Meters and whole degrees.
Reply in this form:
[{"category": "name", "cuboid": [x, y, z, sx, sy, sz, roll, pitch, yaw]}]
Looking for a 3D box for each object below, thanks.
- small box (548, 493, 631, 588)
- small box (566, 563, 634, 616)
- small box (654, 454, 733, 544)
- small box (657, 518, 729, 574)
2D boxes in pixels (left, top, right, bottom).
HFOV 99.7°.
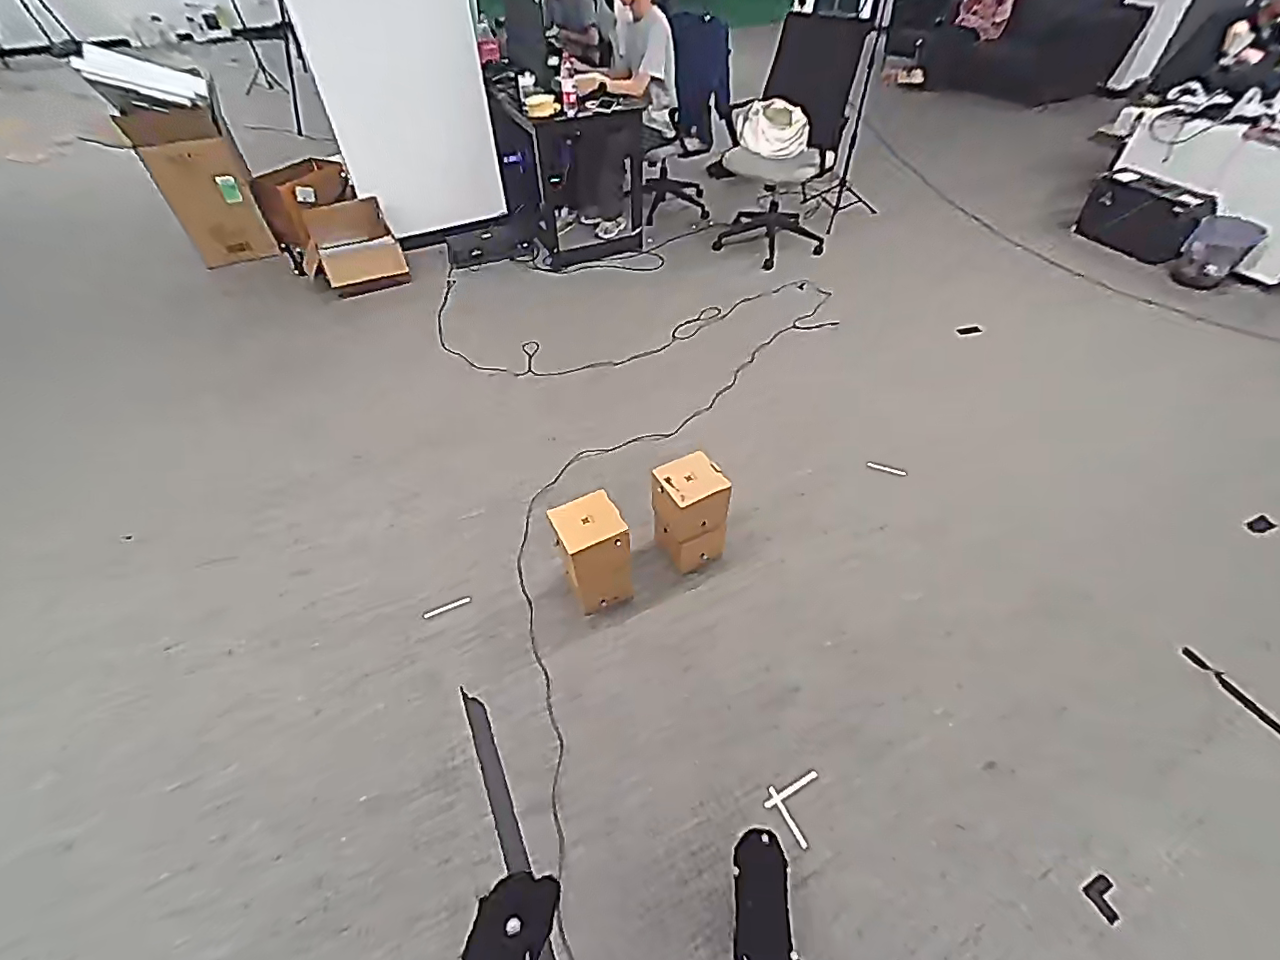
[{"category": "small box", "cuboid": [-0.136, 0.173, 1.514, 0.179, 0.176, 0.168, -23, 51, -18]}, {"category": "small box", "cuboid": [-0.125, 0.279, 1.637, 0.168, 0.176, 0.179, -20, 51, -15]}, {"category": "small box", "cuboid": [0.152, 0.057, 1.607, 0.179, 0.176, 0.168, -22, 50, -19]}, {"category": "small box", "cuboid": [0.161, 0.167, 1.729, 0.168, 0.176, 0.179, -22, 51, -18]}]
